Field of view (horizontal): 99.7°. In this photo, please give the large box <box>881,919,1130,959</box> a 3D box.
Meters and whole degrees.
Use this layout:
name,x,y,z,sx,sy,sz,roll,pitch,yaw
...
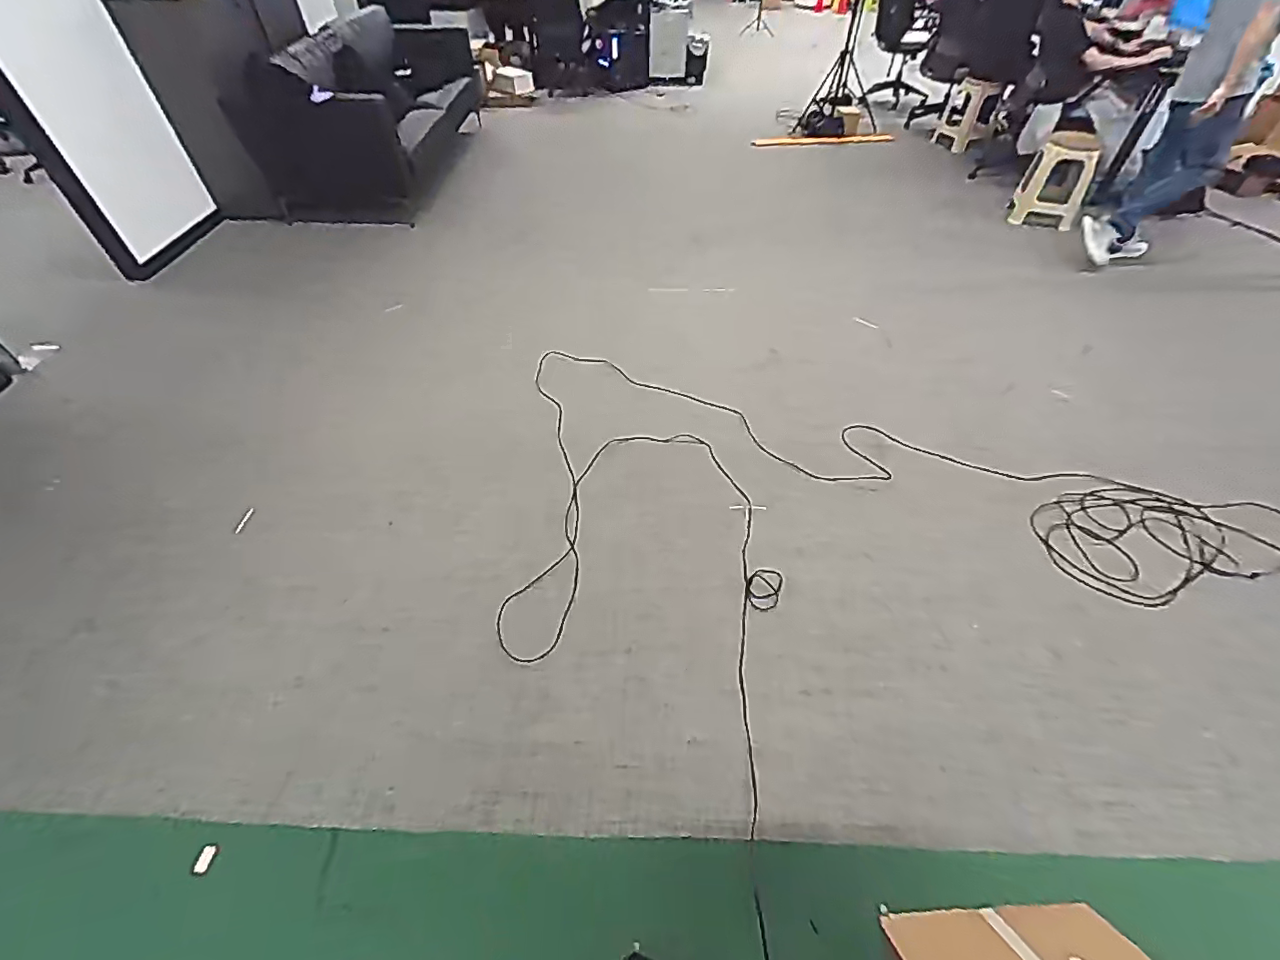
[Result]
name,x,y,z,sx,sy,sz,roll,pitch,yaw
large box,0.517,0.788,0.586,0.320,0.408,0.320,-3,83,0
